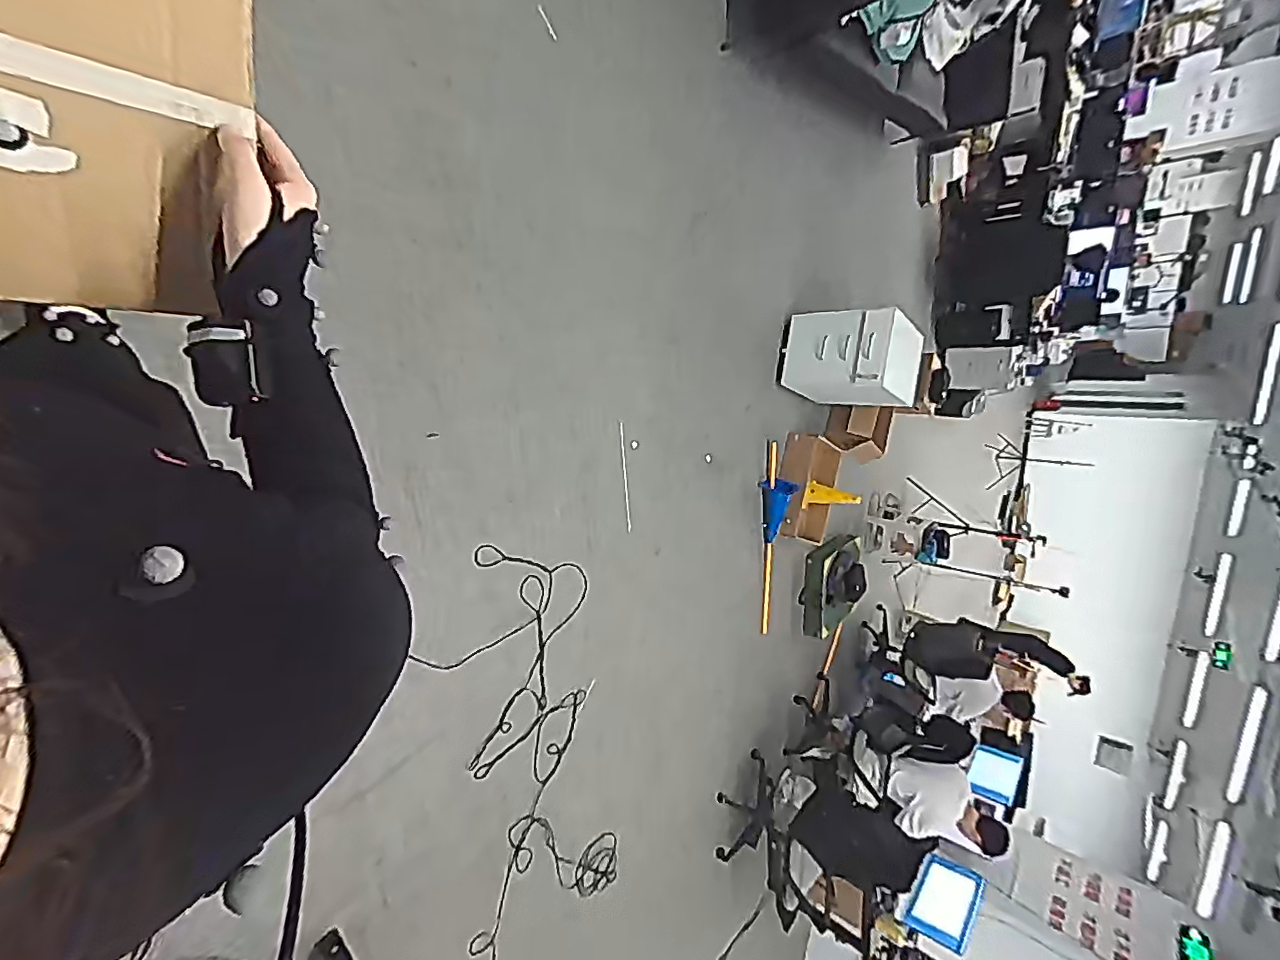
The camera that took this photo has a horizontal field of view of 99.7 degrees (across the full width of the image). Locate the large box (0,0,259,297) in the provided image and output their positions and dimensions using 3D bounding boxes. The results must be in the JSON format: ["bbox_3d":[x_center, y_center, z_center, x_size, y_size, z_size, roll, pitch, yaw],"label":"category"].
[{"bbox_3d":[-0.550,-0.336,0.372,0.408,0.320,0.320,-11,126,-47],"label":"large box"}]
